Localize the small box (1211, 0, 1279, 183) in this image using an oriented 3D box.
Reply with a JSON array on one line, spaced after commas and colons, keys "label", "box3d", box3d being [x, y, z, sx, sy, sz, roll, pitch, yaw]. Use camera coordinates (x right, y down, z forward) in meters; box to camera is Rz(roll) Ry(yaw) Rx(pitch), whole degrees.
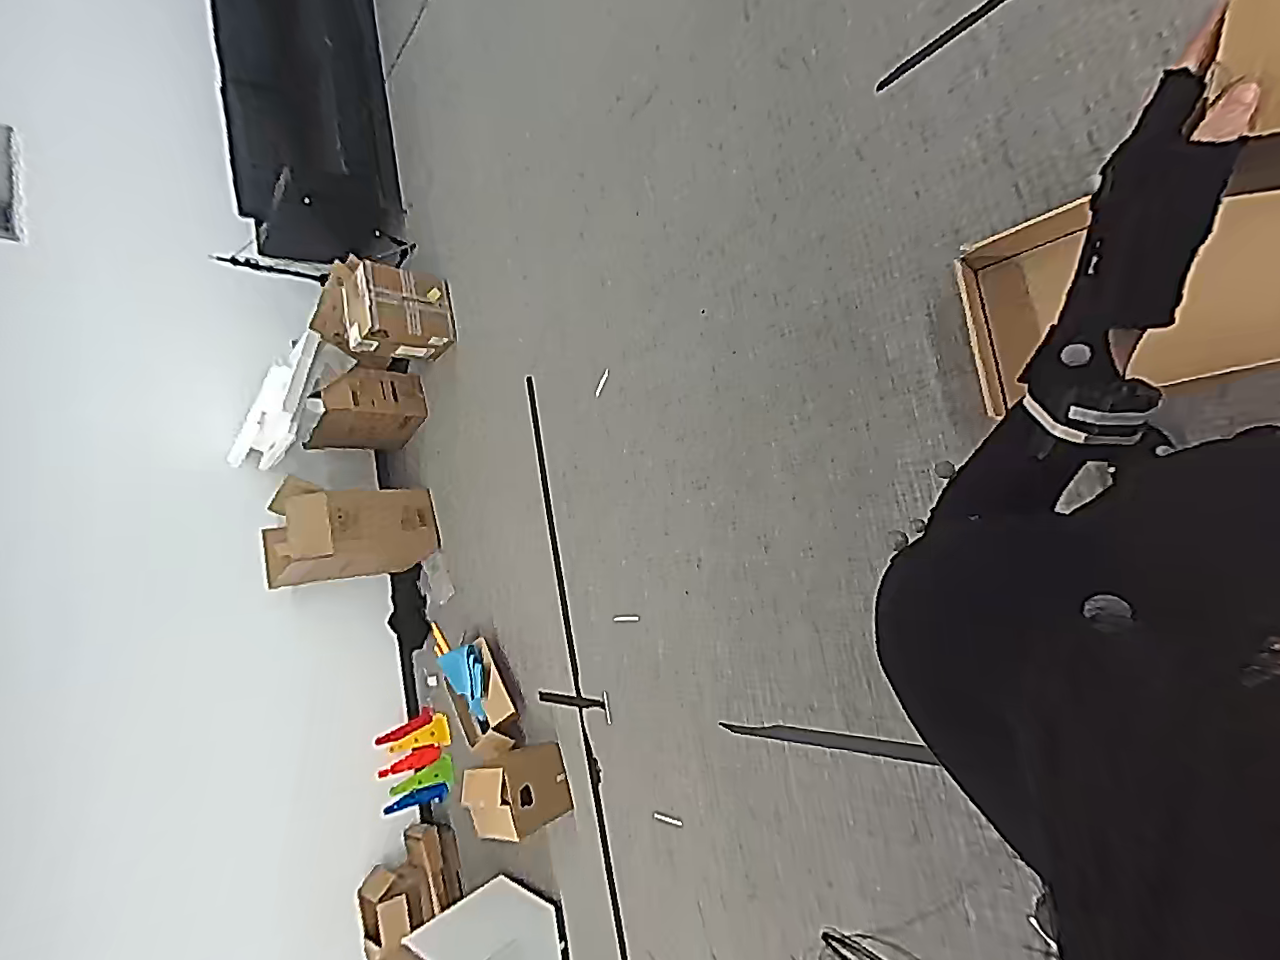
[{"label": "small box", "box3d": [0.416, -0.270, 0.264, 0.168, 0.176, 0.179, 12, 110, 42]}]
